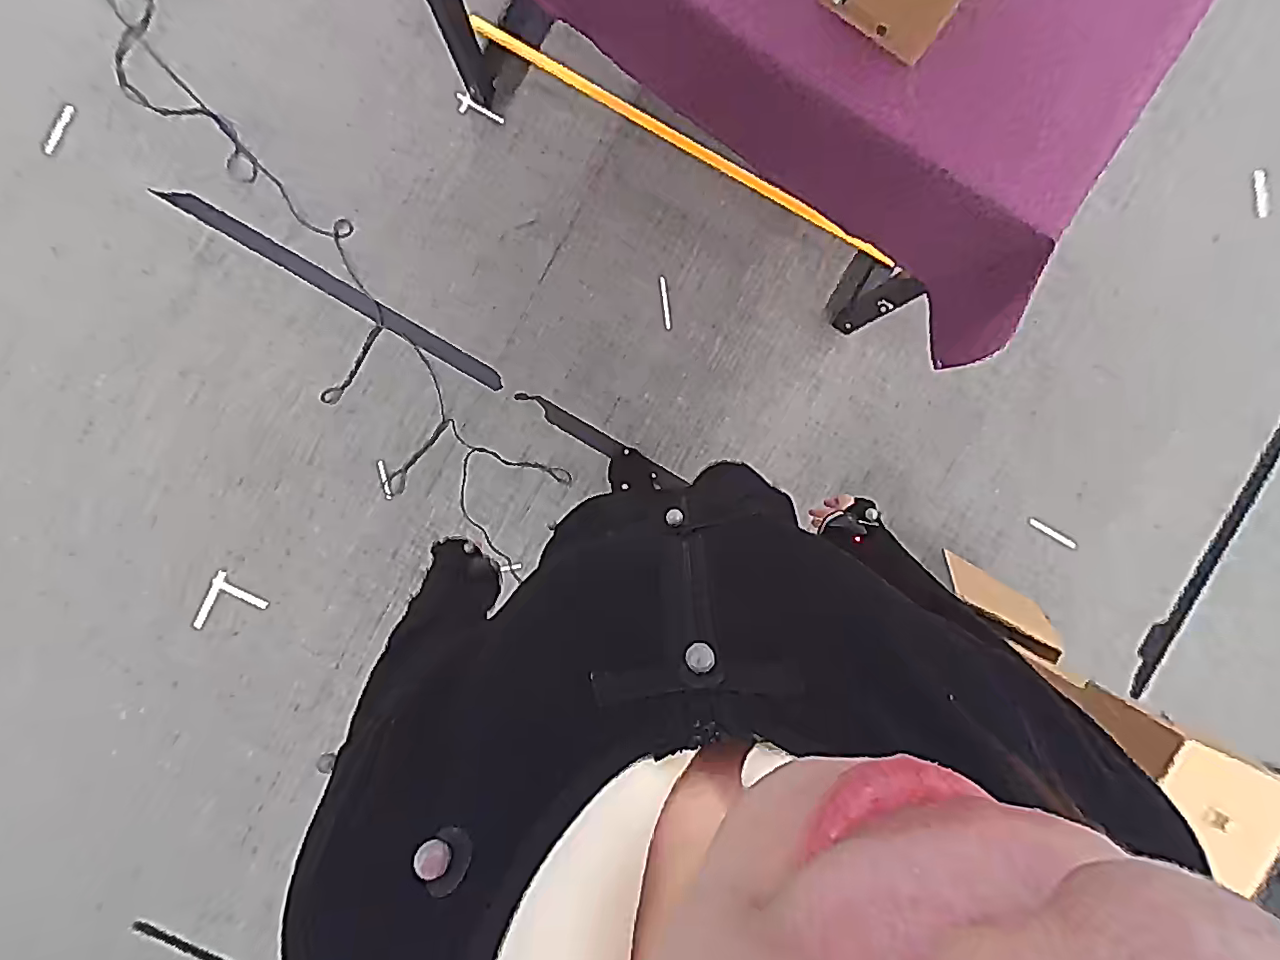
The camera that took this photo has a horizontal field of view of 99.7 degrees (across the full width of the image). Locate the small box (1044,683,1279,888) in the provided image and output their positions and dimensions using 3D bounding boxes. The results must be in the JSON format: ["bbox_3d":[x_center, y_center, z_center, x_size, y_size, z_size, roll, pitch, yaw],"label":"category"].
[{"bbox_3d":[0.745,0.422,0.781,0.179,0.176,0.168,23,96,0],"label":"small box"}]

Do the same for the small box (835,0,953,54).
[{"bbox_3d":[0.346,-0.678,0.648,0.168,0.176,0.179,33,91,-3],"label":"small box"}]

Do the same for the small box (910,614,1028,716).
[{"bbox_3d":[0.764,0.433,1.275,0.168,0.176,0.179,8,96,1],"label":"small box"}]

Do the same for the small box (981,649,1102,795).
[{"bbox_3d":[0.745,0.424,0.945,0.168,0.176,0.179,22,96,1],"label":"small box"}]
